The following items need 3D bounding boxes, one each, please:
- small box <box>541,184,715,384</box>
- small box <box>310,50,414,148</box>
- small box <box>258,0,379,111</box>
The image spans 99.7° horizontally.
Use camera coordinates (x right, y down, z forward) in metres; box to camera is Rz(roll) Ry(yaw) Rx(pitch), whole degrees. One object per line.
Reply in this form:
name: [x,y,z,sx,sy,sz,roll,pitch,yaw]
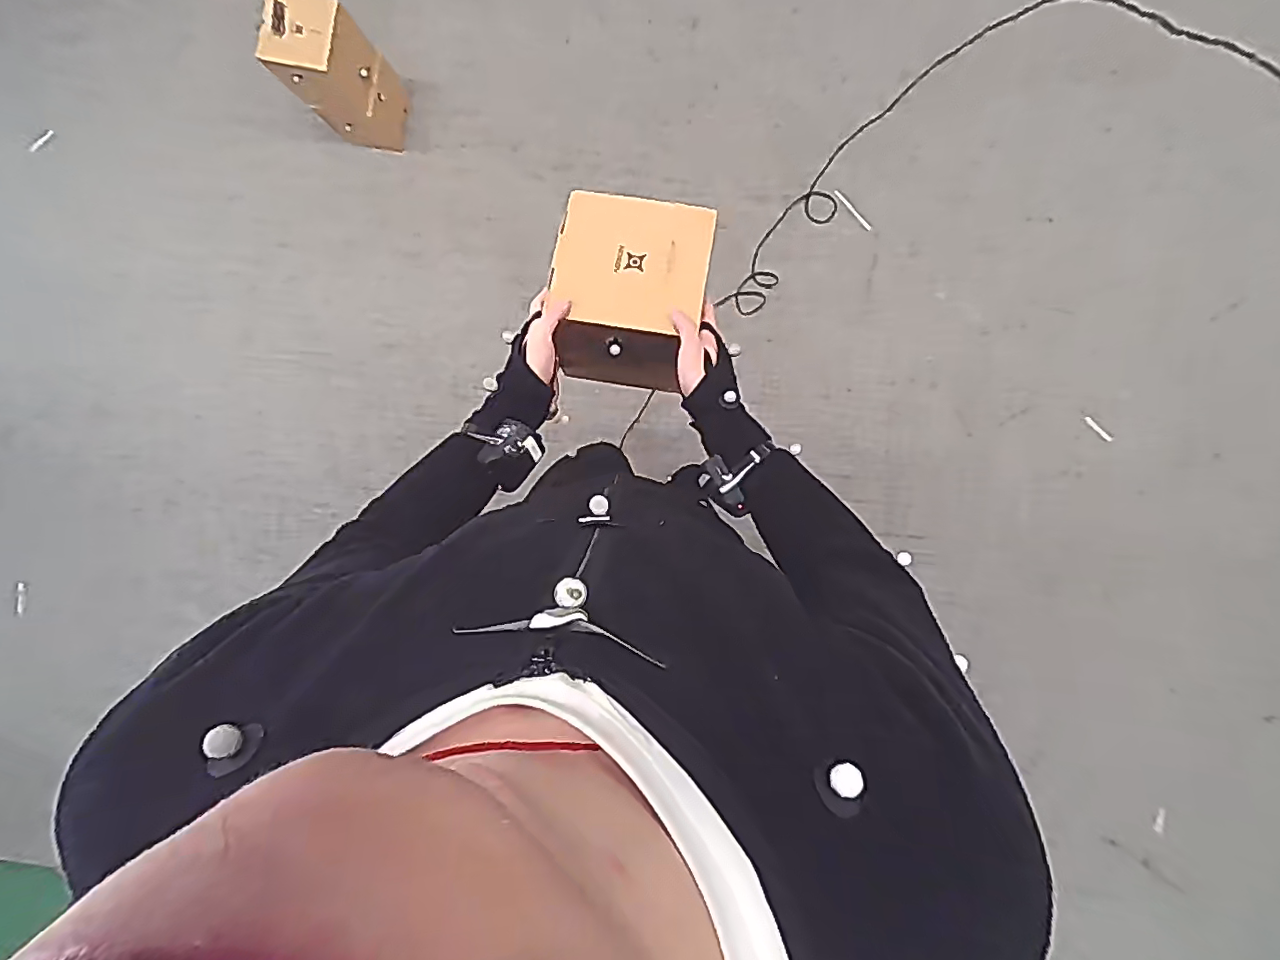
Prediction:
small box: [-0.012,-0.235,0.684,0.179,0.176,0.168,9,77,2]
small box: [-0.754,-1.044,1.480,0.179,0.176,0.168,12,93,4]
small box: [-0.775,-1.042,1.316,0.179,0.176,0.168,13,93,3]
